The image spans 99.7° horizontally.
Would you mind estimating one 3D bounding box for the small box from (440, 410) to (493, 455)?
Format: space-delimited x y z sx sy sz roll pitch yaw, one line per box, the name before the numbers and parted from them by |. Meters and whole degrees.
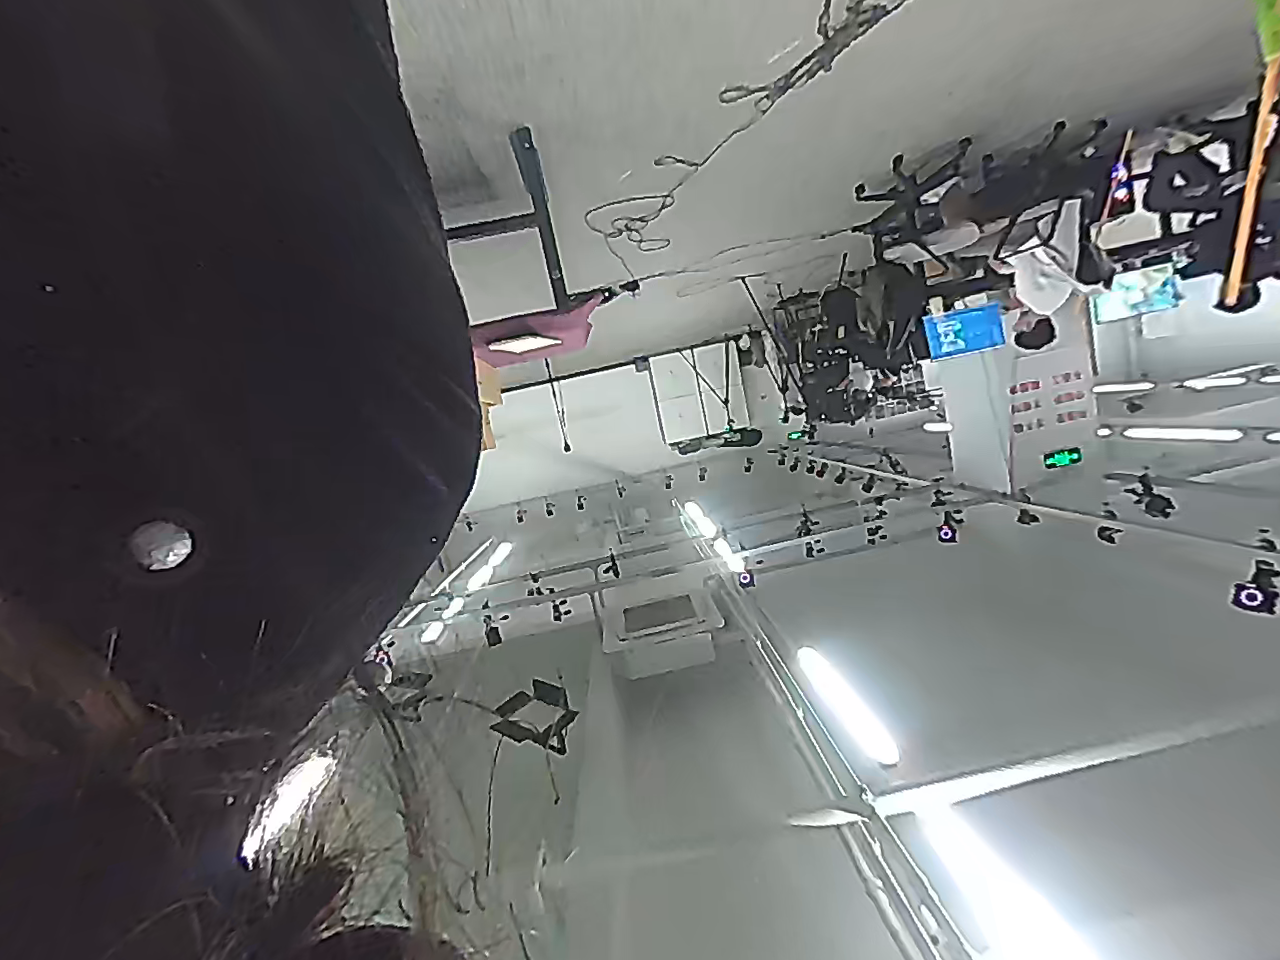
small box | -0.785 -0.214 2.439 0.179 0.176 0.168 -13 -173 -1
